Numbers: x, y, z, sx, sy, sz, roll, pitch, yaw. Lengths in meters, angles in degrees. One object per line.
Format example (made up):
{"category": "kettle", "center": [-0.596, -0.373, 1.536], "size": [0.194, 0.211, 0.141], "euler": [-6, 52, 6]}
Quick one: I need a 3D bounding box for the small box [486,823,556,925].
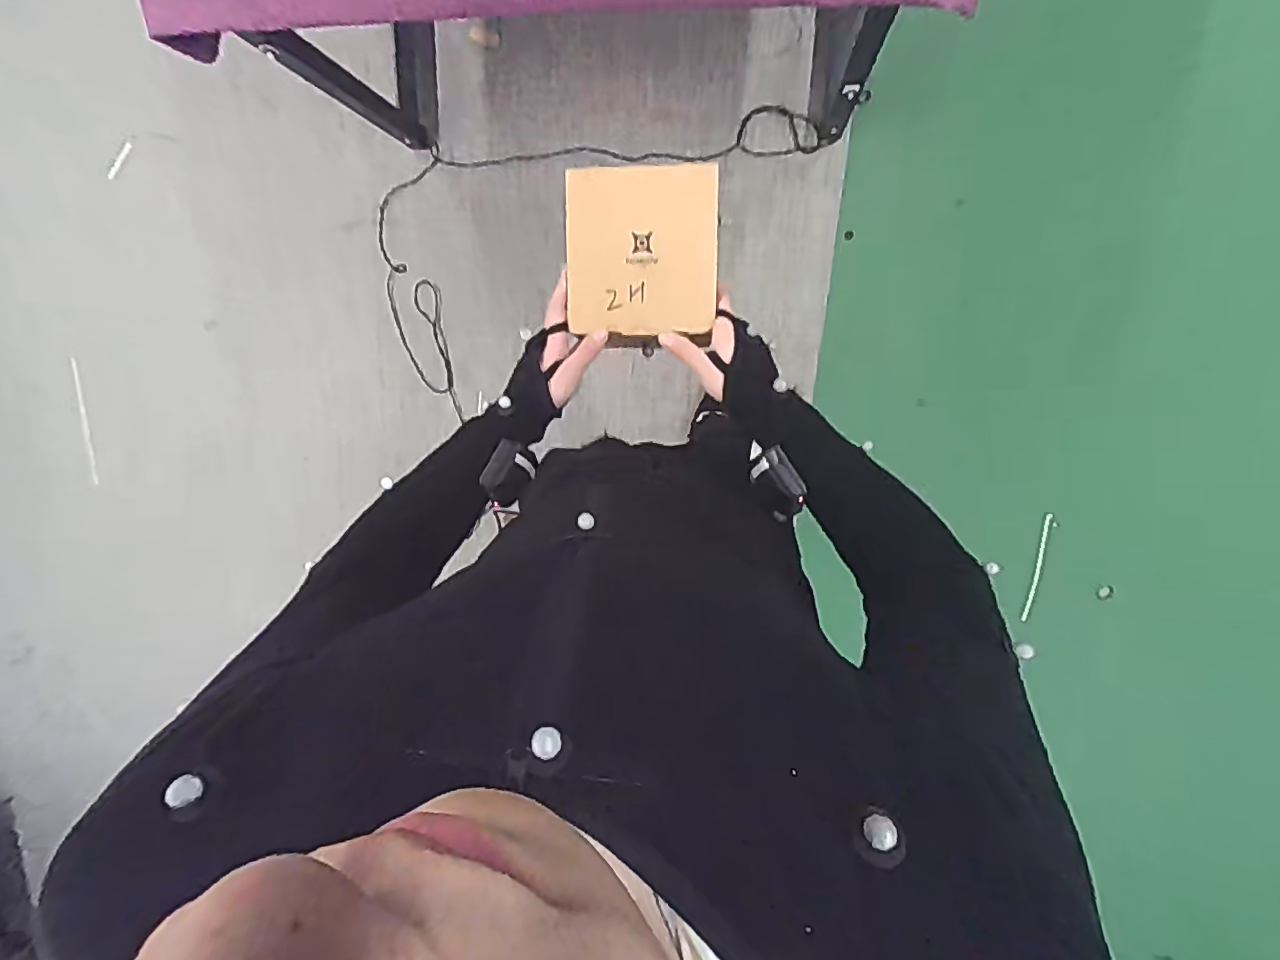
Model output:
{"category": "small box", "center": [-0.364, 1.214, 1.674], "size": [0.168, 0.176, 0.179], "euler": [4, 104, 8]}

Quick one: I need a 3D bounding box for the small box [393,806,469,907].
{"category": "small box", "center": [-0.659, 1.189, 1.718], "size": [0.168, 0.176, 0.179], "euler": [11, 103, 7]}

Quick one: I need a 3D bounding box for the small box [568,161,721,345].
{"category": "small box", "center": [0.008, -0.263, 0.664], "size": [0.168, 0.176, 0.179], "euler": [0, 100, 5]}
